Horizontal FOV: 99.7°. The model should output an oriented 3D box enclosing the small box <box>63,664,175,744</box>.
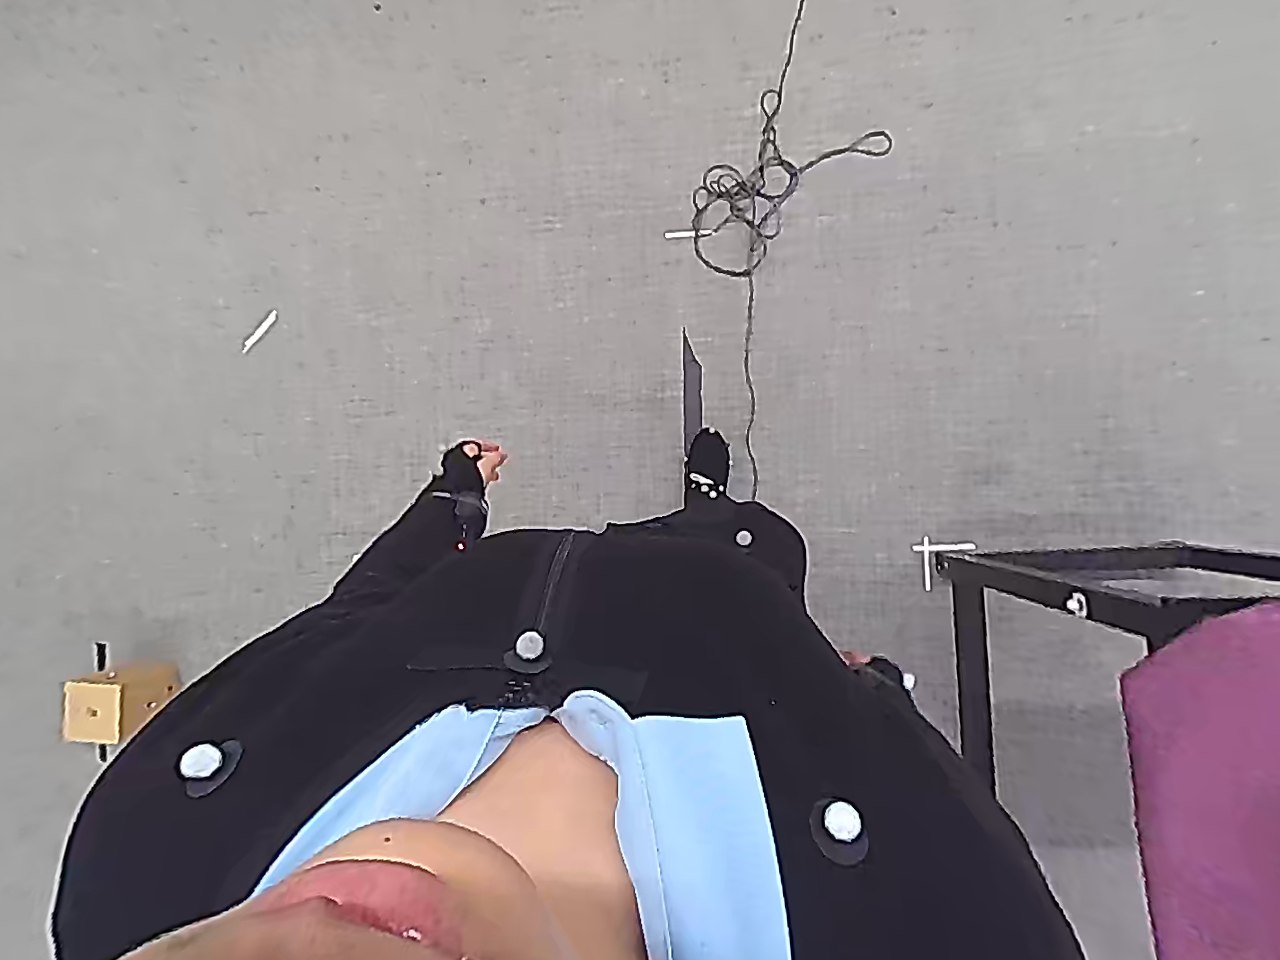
[{"bbox_3d":[-1.510,0.645,1.576,0.179,0.176,0.168,1,88,7],"label":"small box"}]
